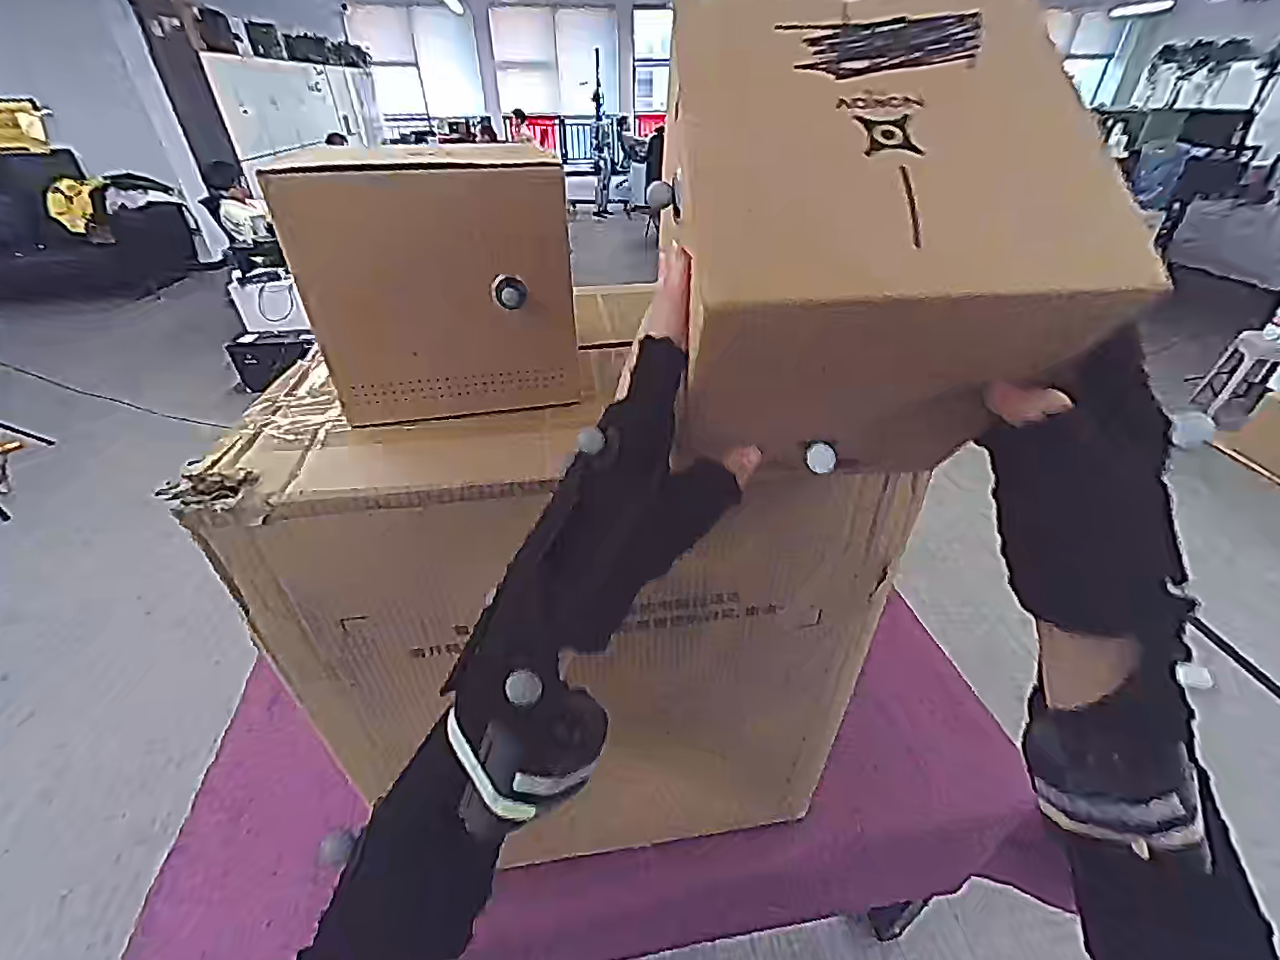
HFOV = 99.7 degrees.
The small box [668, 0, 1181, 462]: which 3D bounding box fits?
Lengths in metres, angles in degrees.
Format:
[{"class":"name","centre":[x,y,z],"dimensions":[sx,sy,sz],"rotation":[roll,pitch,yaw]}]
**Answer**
[{"class":"small box","centre":[0.105,-0.124,0.294],"dimensions":[0.168,0.176,0.179],"rotation":[-2,67,-1]}]

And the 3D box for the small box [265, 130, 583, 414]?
[{"class":"small box","centre":[-0.142,-0.167,0.423],"dimensions":[0.179,0.176,0.168],"rotation":[-9,36,-11]}]
